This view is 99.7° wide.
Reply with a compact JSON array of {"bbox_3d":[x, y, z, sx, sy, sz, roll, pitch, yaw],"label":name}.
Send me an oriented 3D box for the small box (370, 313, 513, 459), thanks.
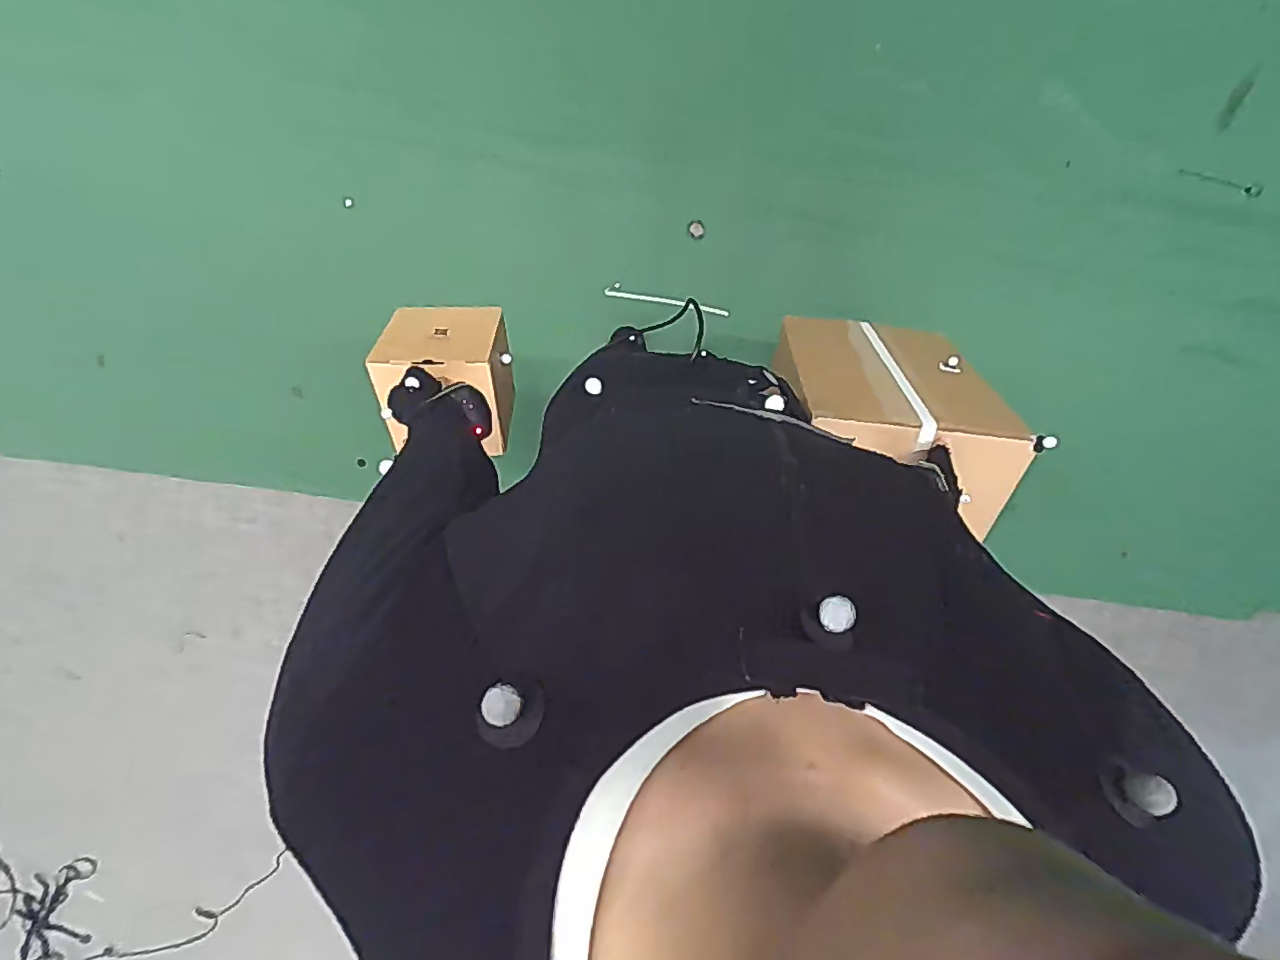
[{"bbox_3d":[-0.300,-0.151,0.862,0.168,0.179,0.176,-2,131,-5],"label":"small box"}]
